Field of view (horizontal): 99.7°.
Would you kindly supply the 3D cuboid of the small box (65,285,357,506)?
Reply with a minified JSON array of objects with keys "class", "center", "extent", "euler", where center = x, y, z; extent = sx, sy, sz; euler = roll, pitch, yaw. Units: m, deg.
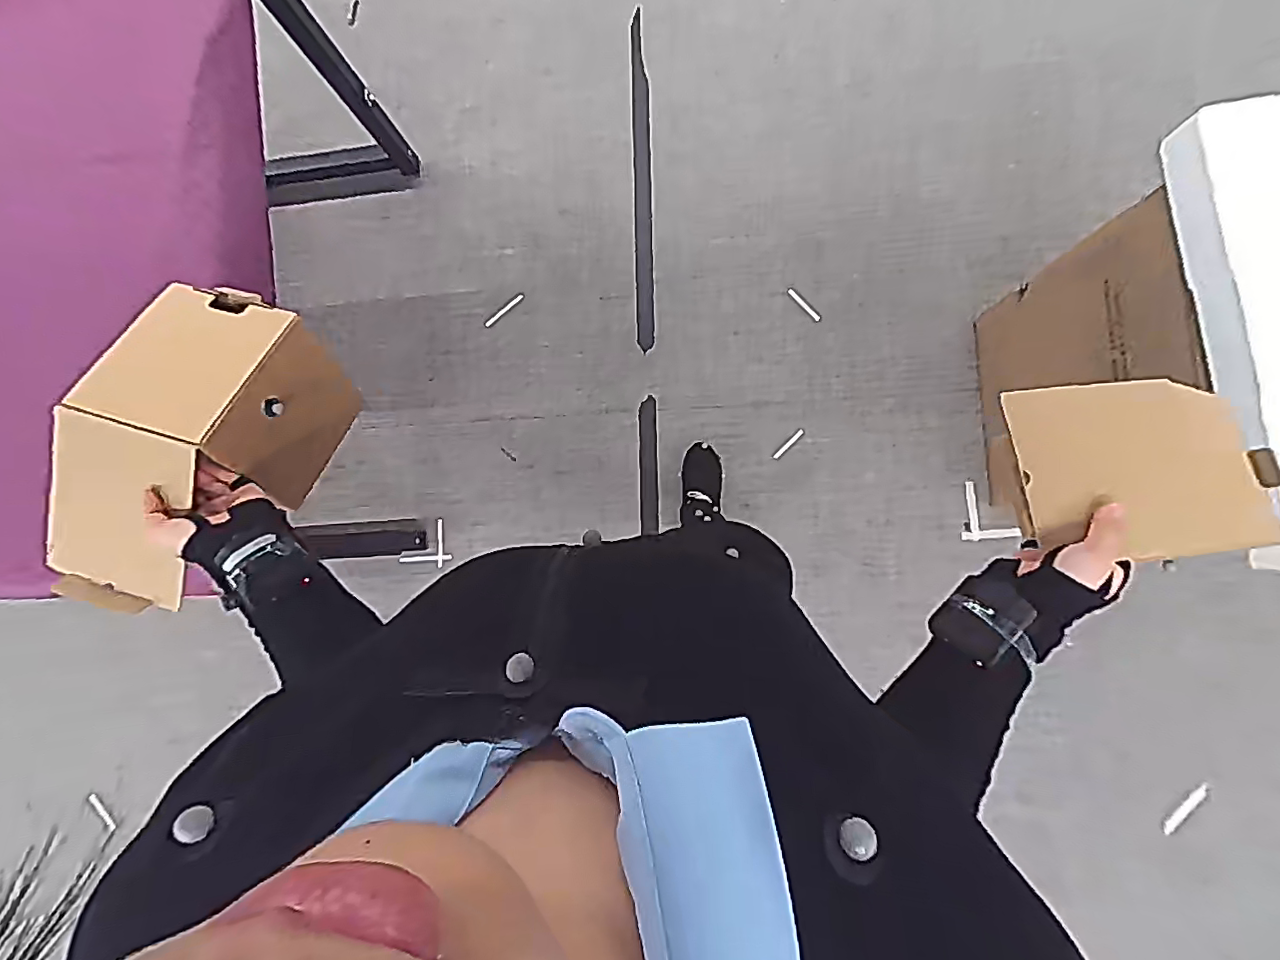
[{"class":"small box","center":[-0.473,-0.090,0.635],"extent":[0.168,0.176,0.179],"euler":[15,63,7]}]
